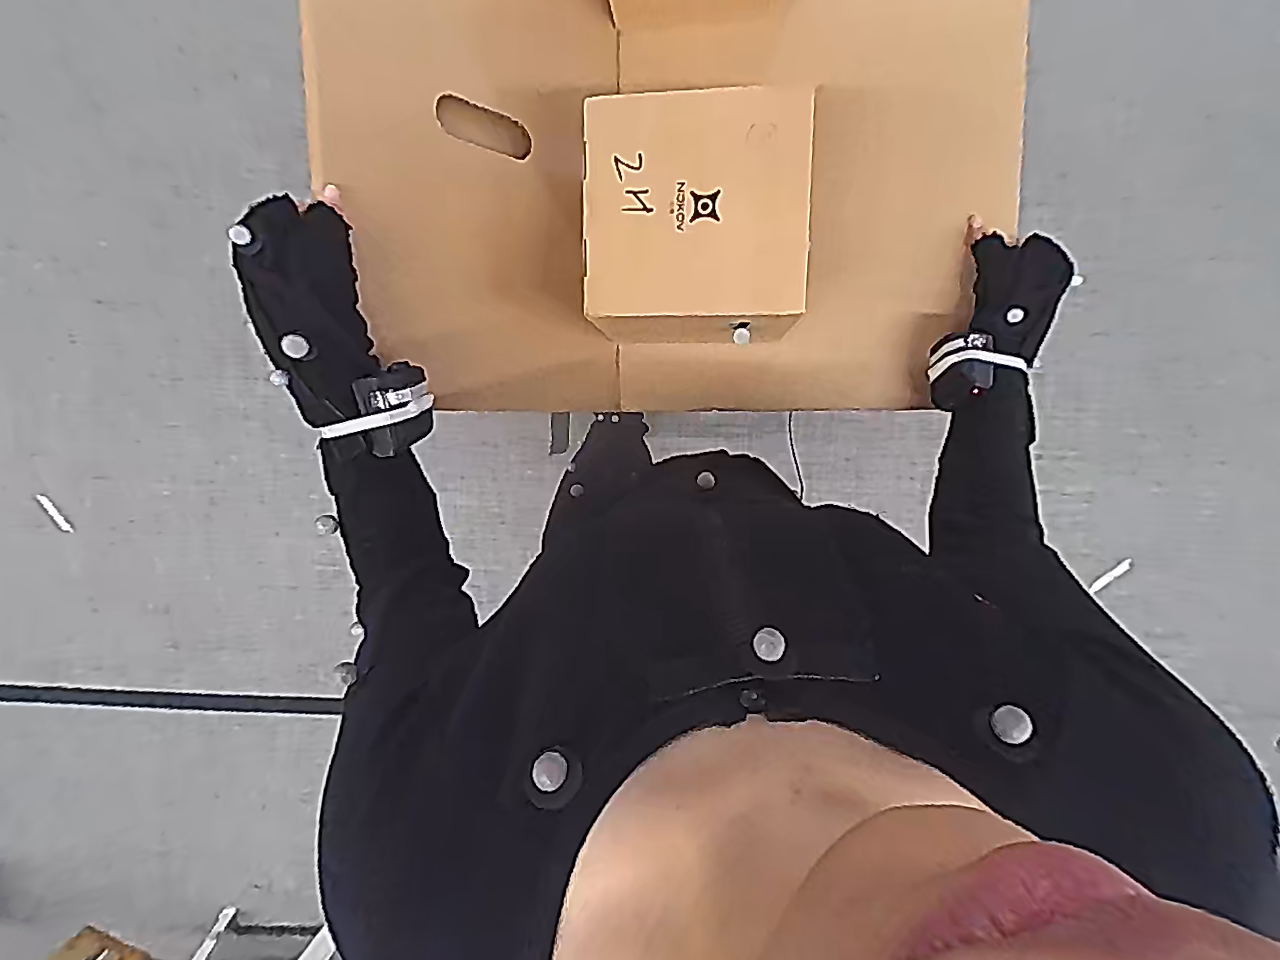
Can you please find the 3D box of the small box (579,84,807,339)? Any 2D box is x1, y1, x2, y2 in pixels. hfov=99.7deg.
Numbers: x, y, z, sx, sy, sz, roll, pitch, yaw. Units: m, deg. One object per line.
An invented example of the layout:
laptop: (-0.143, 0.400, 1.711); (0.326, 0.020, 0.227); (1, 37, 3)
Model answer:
small box: (0.047, -0.229, 0.504); (0.179, 0.176, 0.168); (2, 96, 7)
